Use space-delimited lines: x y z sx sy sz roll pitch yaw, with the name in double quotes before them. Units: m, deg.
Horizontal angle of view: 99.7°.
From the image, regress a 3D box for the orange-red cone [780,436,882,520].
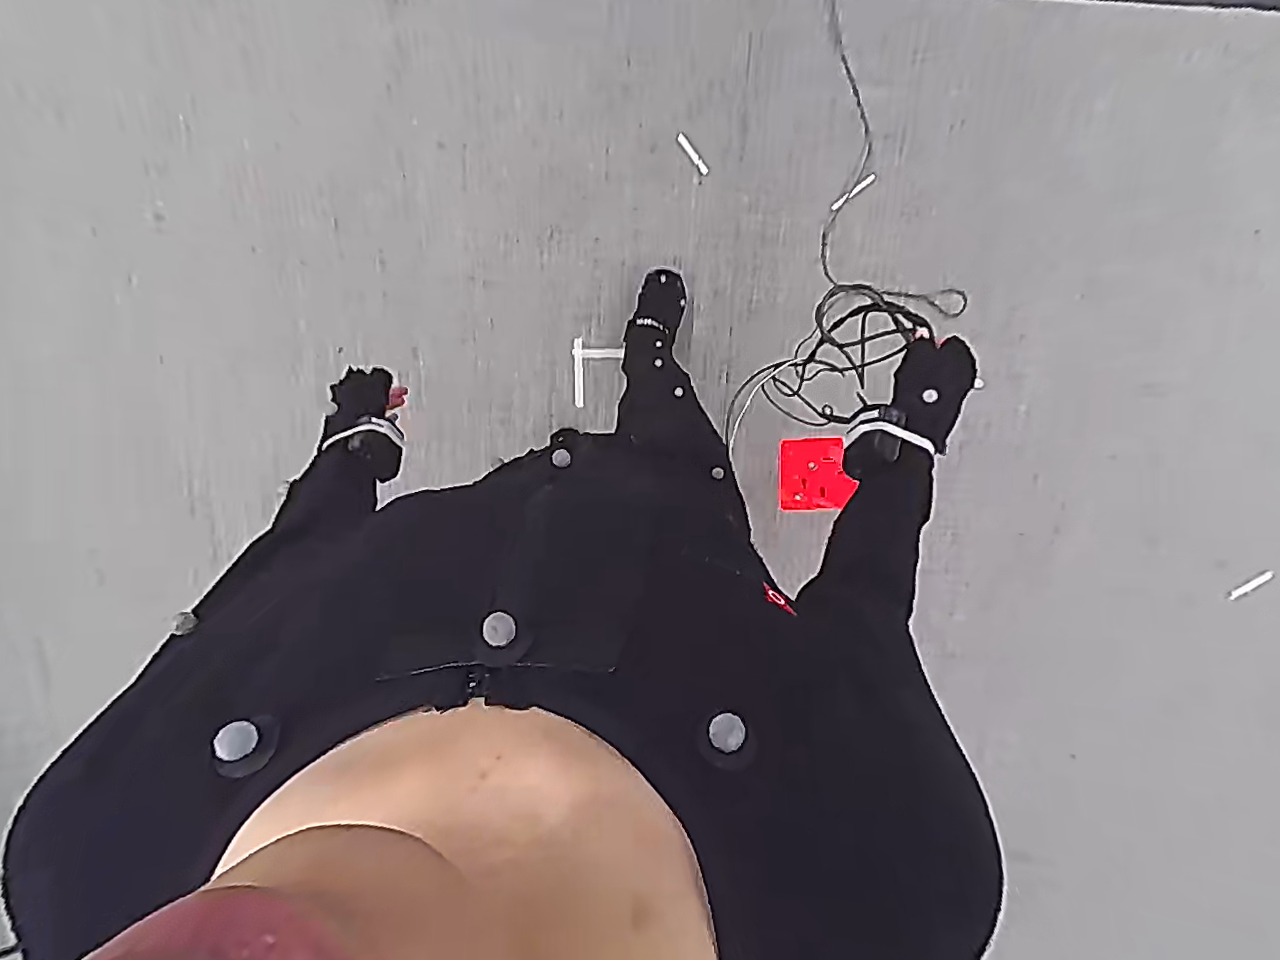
"orange-red cone" 0.479 0.021 1.276 0.199 0.360 0.198 -2 104 -1
